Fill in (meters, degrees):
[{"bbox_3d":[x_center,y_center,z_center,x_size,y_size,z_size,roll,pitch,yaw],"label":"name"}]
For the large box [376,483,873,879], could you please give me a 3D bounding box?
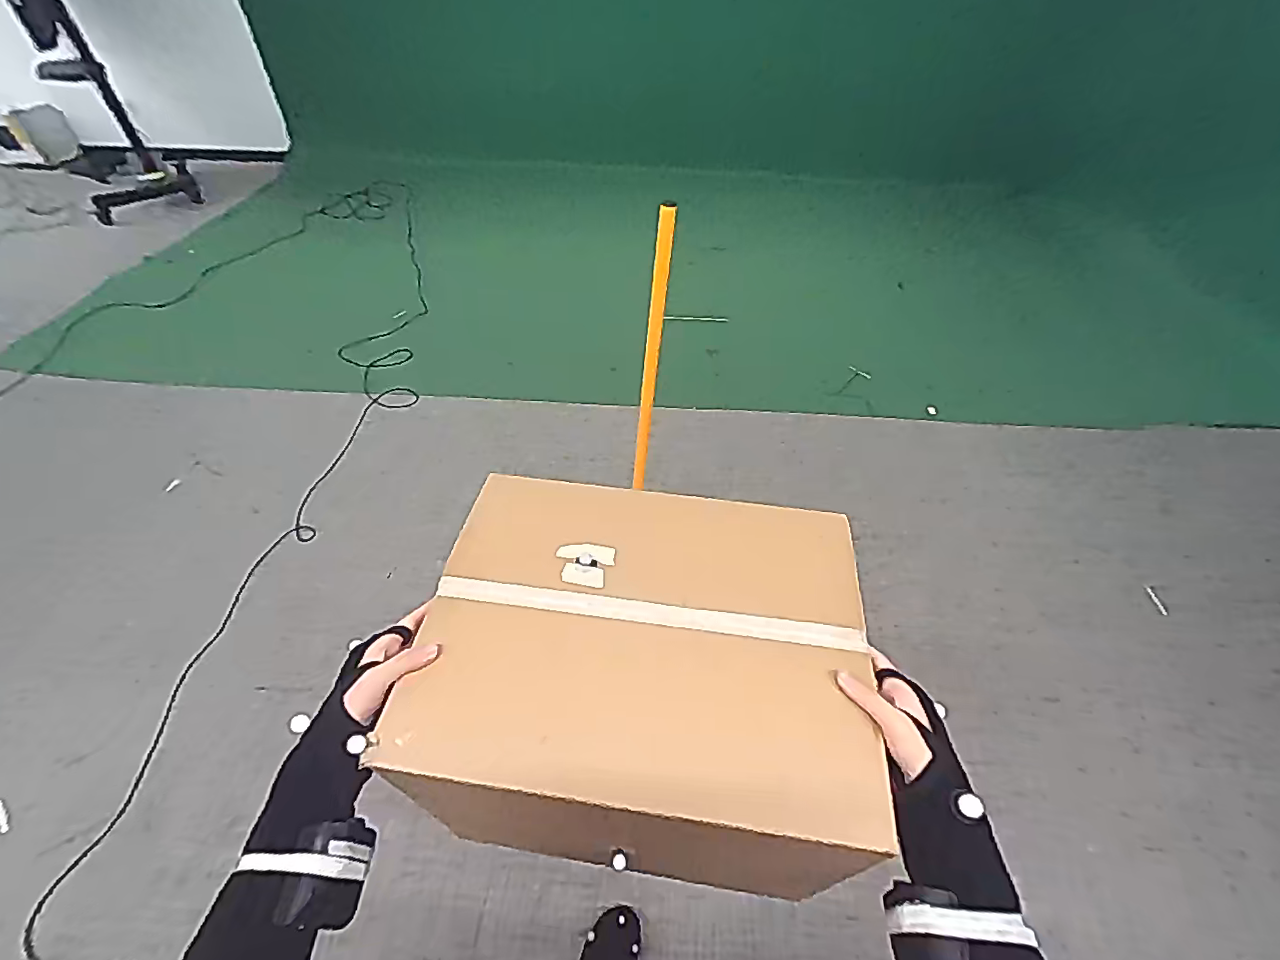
[{"bbox_3d":[0.003,0.235,0.629,0.408,0.320,0.320,7,48,6],"label":"large box"}]
